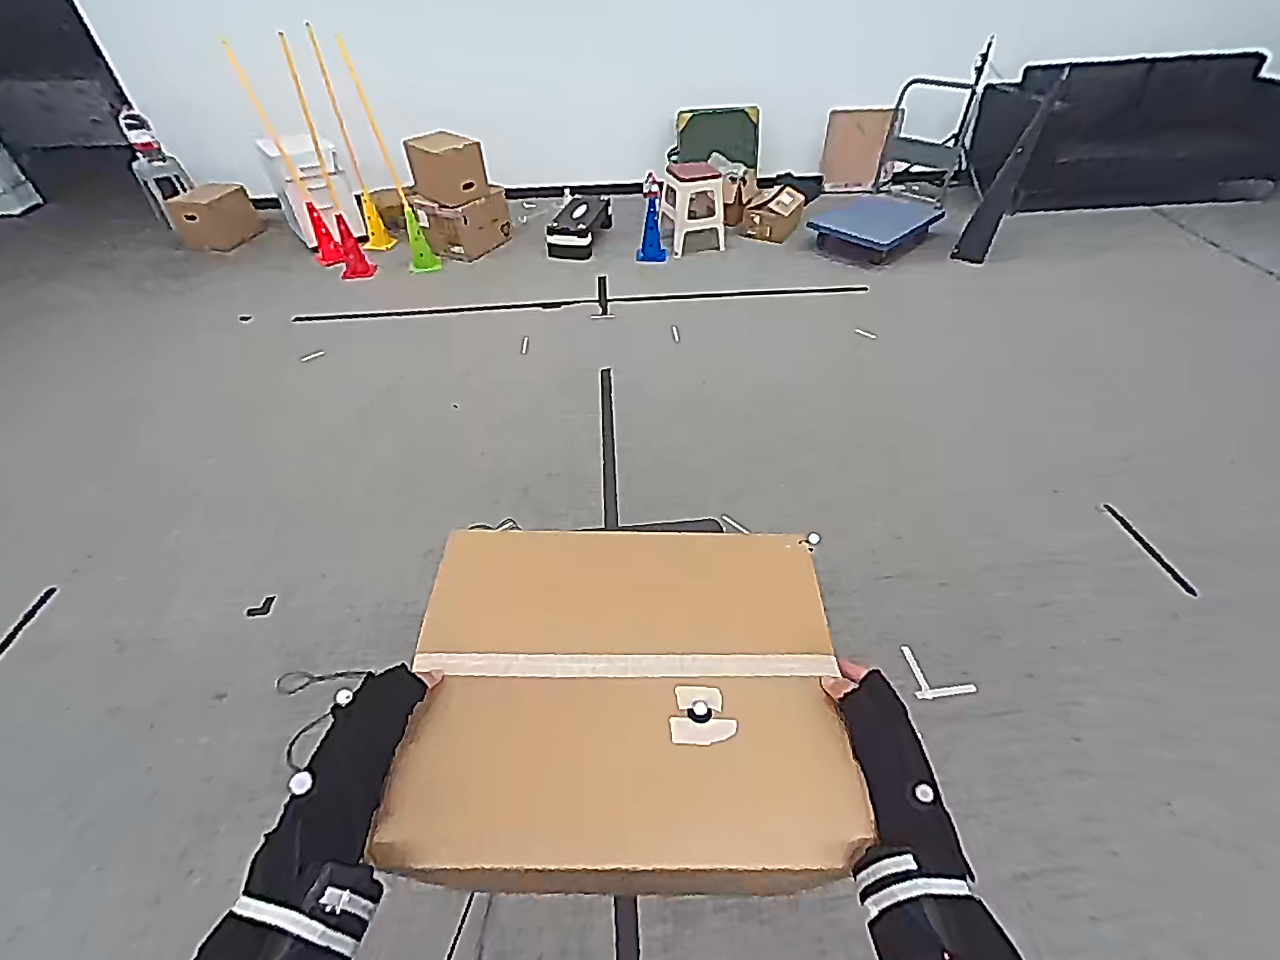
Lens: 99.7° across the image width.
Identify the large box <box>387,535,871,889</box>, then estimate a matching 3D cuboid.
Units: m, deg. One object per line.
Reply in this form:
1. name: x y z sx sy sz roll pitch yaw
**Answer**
1. large box: -0.013 0.279 0.644 0.408 0.320 0.320 1 50 -1
